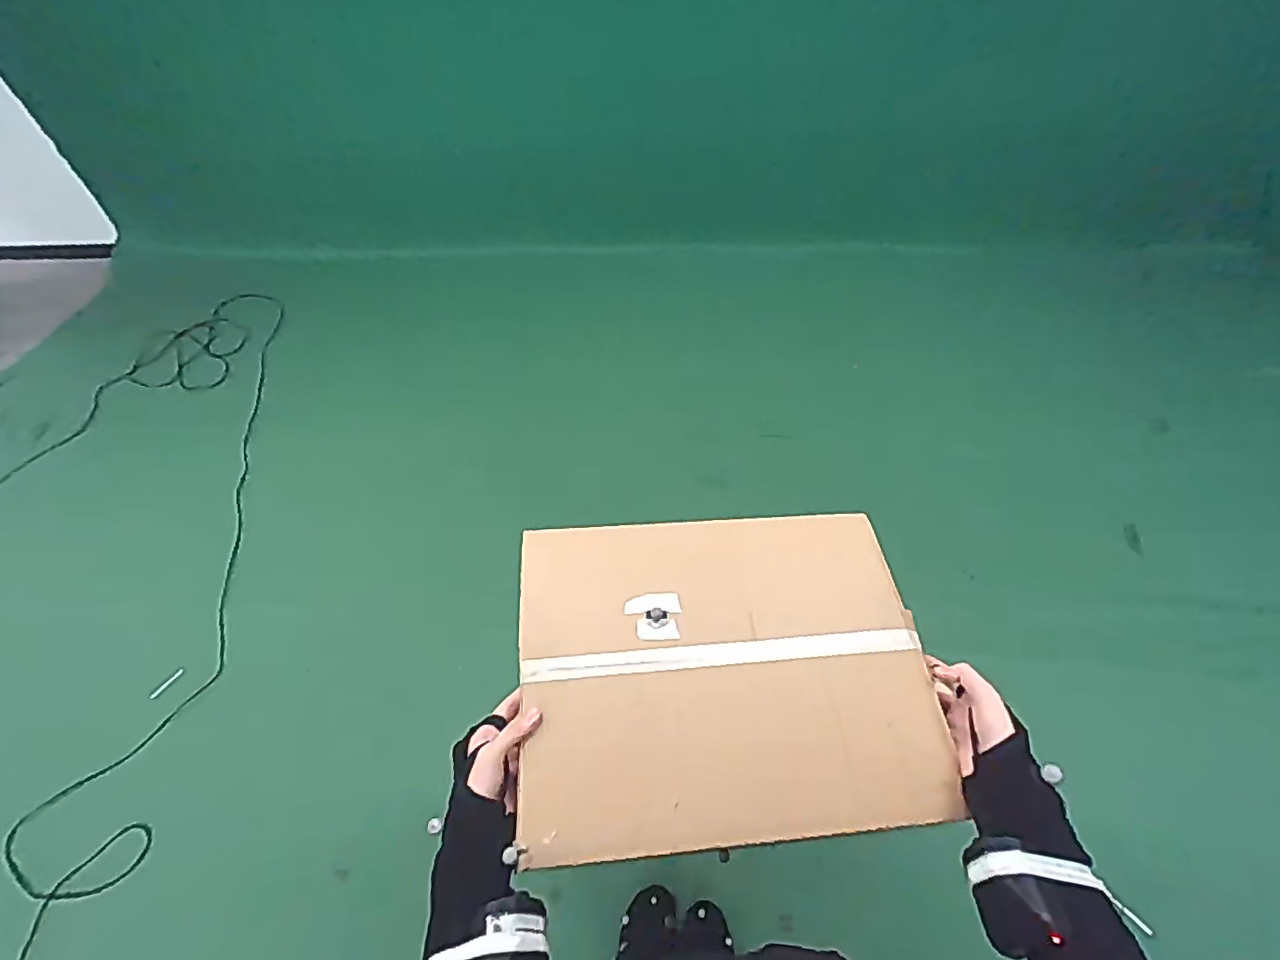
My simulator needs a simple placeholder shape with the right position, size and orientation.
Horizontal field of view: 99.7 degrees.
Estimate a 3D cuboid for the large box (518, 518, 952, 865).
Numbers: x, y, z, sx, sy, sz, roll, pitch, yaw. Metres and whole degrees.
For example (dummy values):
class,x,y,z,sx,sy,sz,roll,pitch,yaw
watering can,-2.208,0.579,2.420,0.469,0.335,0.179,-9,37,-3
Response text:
class,x,y,z,sx,sy,sz,roll,pitch,yaw
large box,0.073,0.265,0.682,0.408,0.320,0.320,-3,57,-5
